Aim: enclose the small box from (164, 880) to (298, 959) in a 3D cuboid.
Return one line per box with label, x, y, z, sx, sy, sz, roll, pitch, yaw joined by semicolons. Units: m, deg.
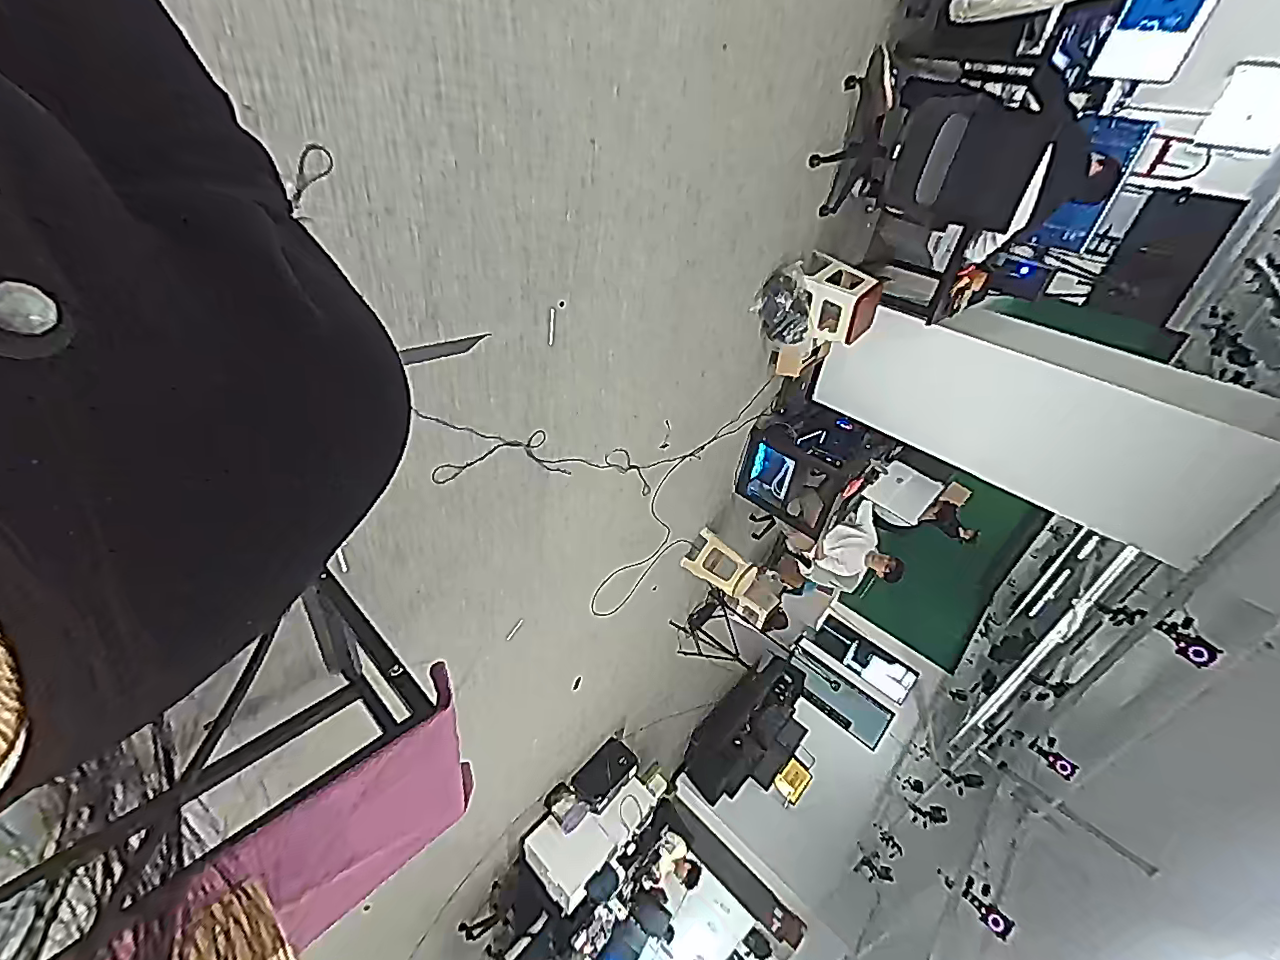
small box;-0.824;0.972;1.103;0.168;0.176;0.179;-27;140;-43
